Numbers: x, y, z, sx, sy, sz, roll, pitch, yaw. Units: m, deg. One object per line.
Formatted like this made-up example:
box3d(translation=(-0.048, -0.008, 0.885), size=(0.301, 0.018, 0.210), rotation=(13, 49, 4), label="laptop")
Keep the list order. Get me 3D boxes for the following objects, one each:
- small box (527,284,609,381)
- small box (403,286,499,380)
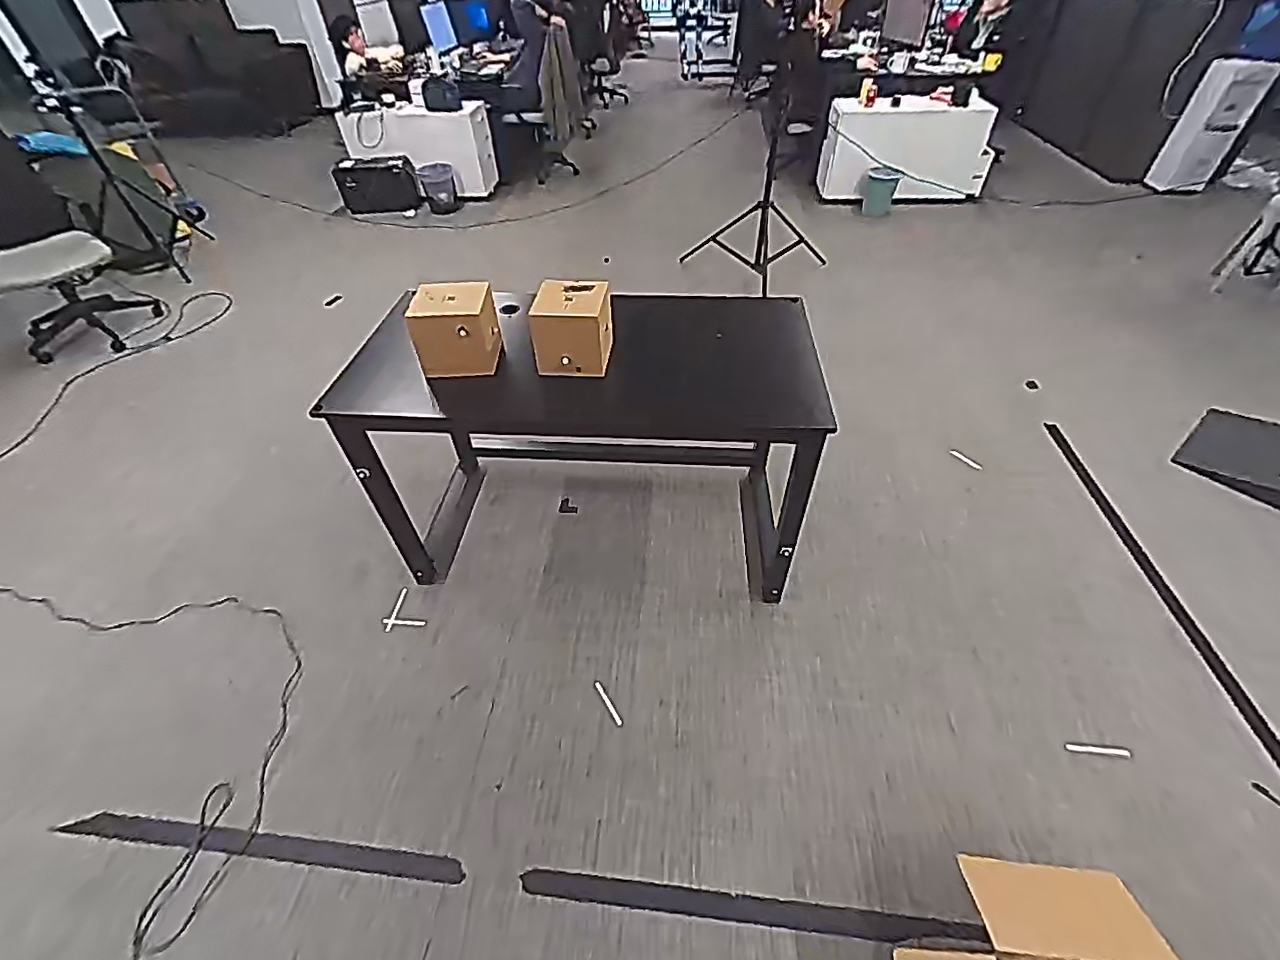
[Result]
box3d(translation=(-0.170, -0.367, 1.344), size=(0.168, 0.176, 0.179), rotation=(3, 46, 5), label="small box")
box3d(translation=(-0.460, -0.365, 1.351), size=(0.179, 0.176, 0.168), rotation=(-3, 45, -1), label="small box")
